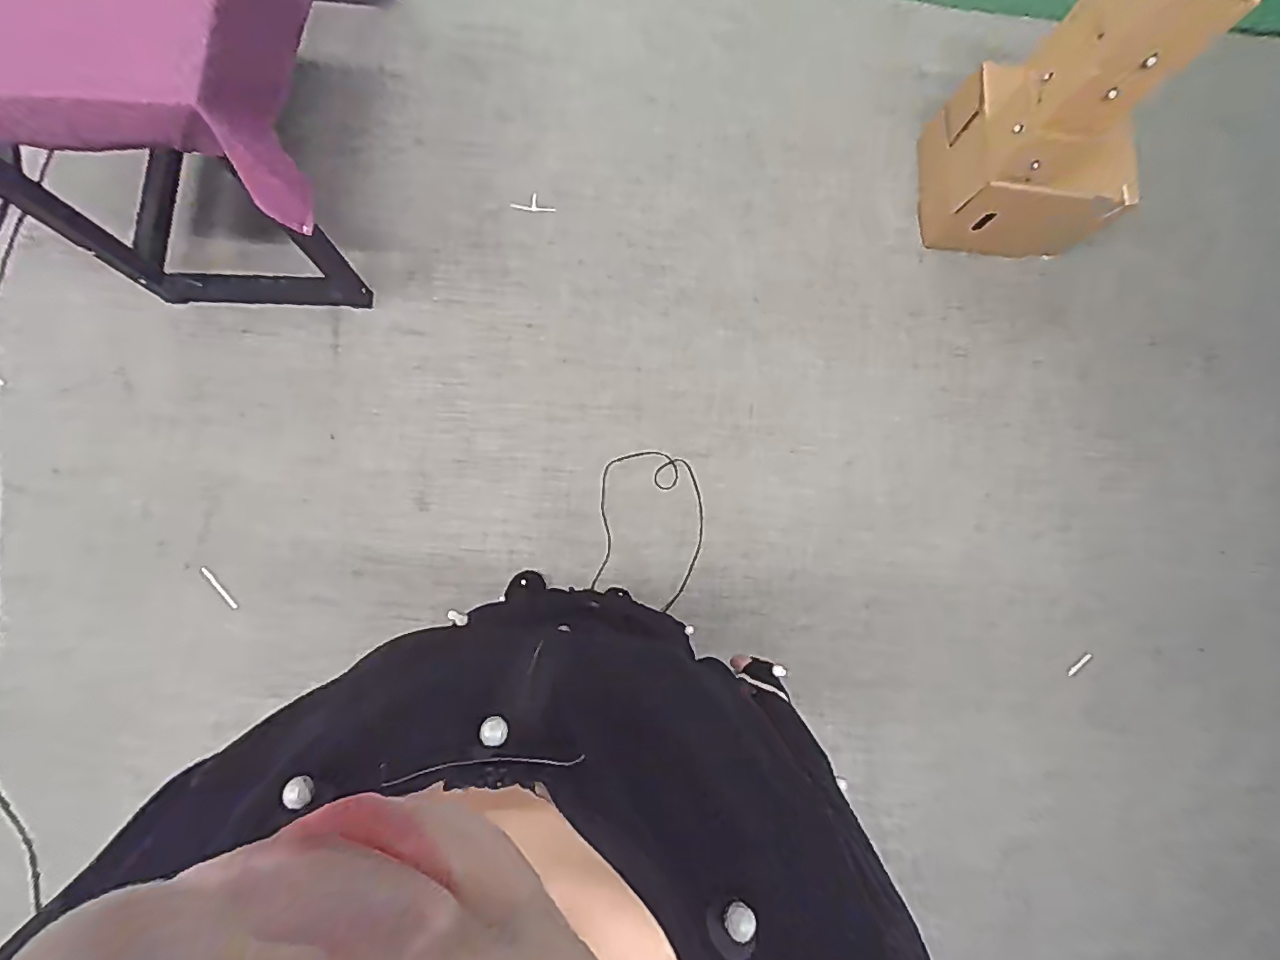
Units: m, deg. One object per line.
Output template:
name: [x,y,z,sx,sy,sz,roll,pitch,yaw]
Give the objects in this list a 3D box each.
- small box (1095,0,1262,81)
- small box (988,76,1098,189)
small box: [1.076,-0.953,1.092,0.179,0.176,0.168,6,80,-4]
small box: [1.044,-0.899,1.414,0.168,0.176,0.179,6,80,-5]
